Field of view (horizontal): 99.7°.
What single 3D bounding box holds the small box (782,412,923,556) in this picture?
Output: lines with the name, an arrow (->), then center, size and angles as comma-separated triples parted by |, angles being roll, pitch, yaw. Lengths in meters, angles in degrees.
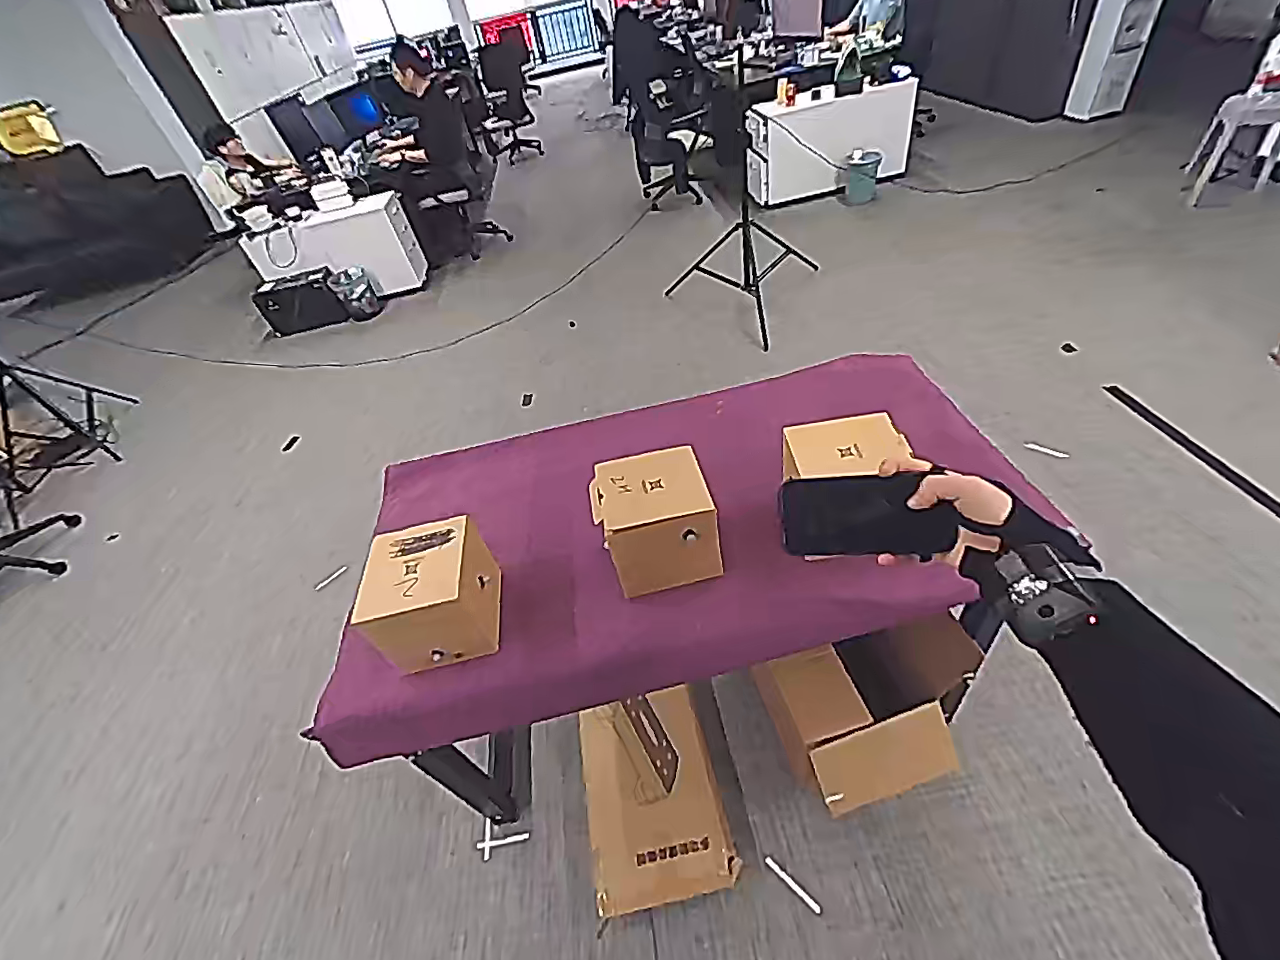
small box -> 0.345, 0.012, 0.913 | 0.179, 0.176, 0.168 | -9, 44, 5

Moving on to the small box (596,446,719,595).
small box -> 0.033, 0.072, 0.930 | 0.179, 0.176, 0.168 | -14, 41, 0
